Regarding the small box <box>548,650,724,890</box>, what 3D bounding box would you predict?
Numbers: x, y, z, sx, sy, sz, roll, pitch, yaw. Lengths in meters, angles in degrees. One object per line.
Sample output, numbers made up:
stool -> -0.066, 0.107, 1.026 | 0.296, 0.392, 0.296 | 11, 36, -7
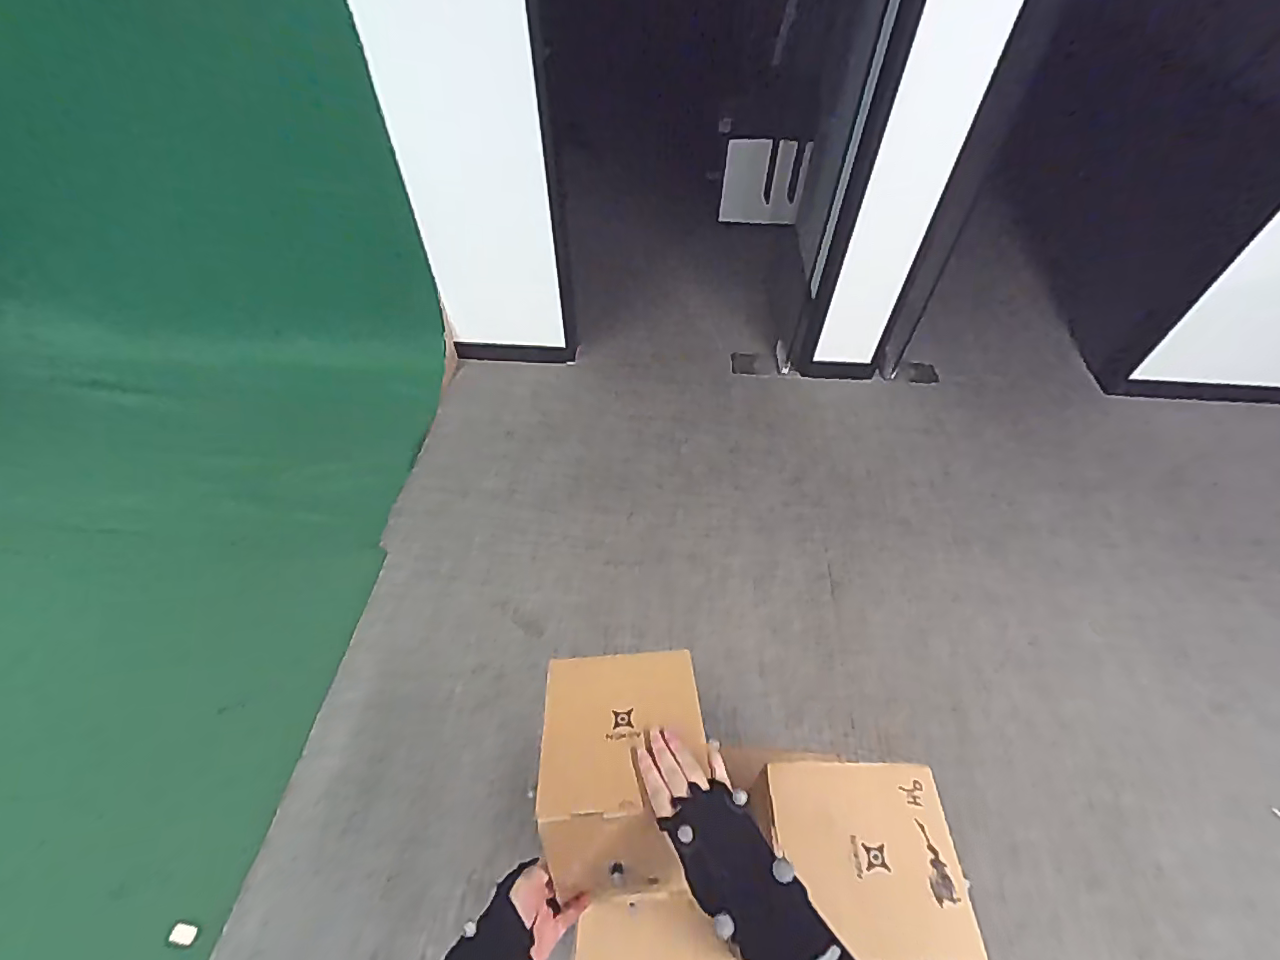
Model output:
small box -> -0.008, 0.319, 0.607 | 0.168, 0.176, 0.179 | -3, 33, -3
